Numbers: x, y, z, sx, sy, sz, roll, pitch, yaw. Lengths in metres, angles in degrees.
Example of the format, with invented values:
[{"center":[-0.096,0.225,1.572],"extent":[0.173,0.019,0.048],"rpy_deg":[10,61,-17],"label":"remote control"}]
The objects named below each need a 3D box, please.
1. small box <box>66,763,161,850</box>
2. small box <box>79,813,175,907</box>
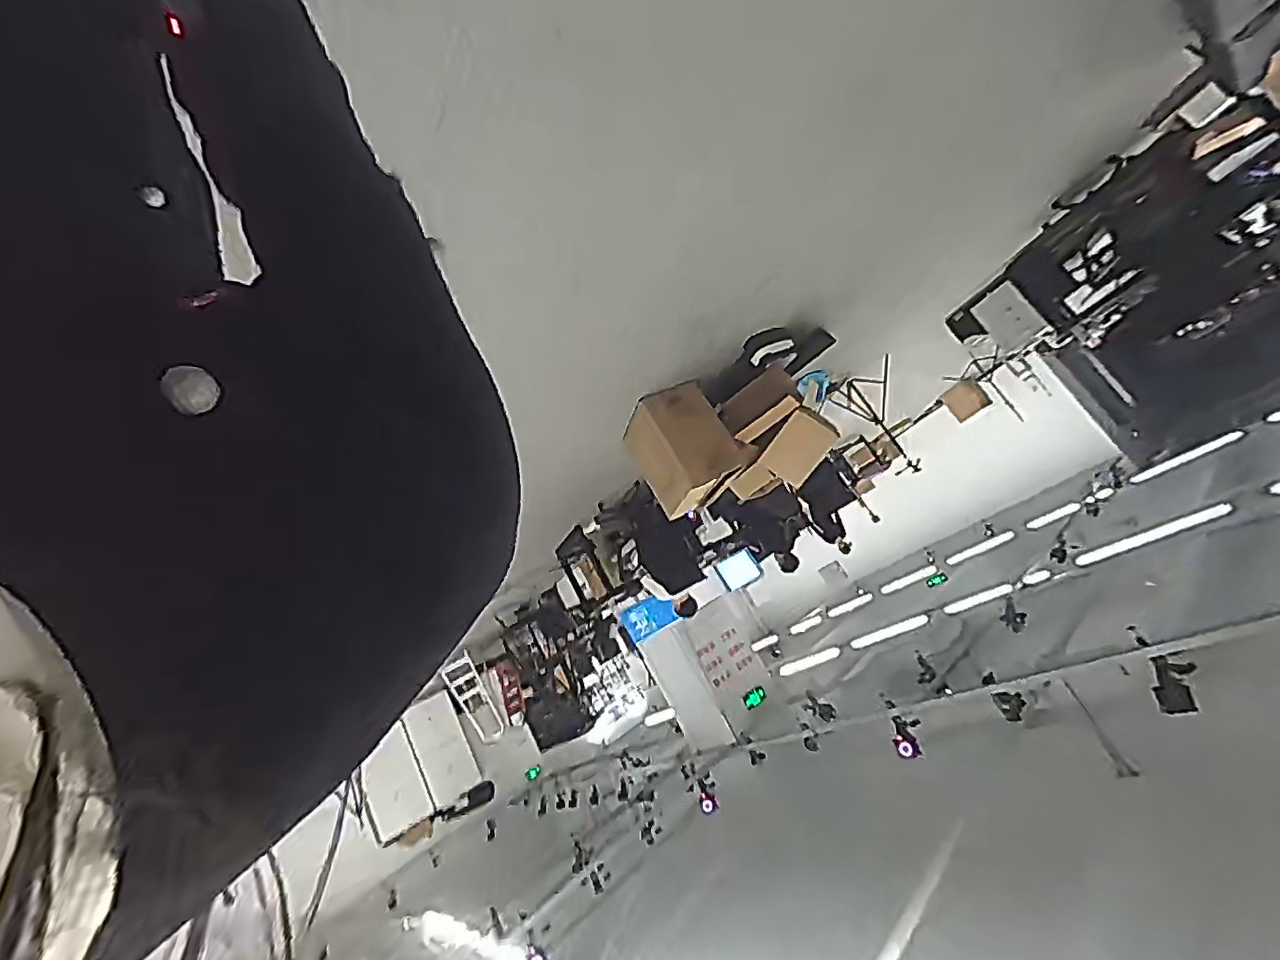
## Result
[{"center":[-1.662,1.028,1.707],"extent":[0.179,0.176,0.168],"rpy_deg":[-20,163,-38],"label":"small box"},{"center":[-1.584,1.164,1.668],"extent":[0.179,0.176,0.168],"rpy_deg":[-20,161,-37],"label":"small box"}]
